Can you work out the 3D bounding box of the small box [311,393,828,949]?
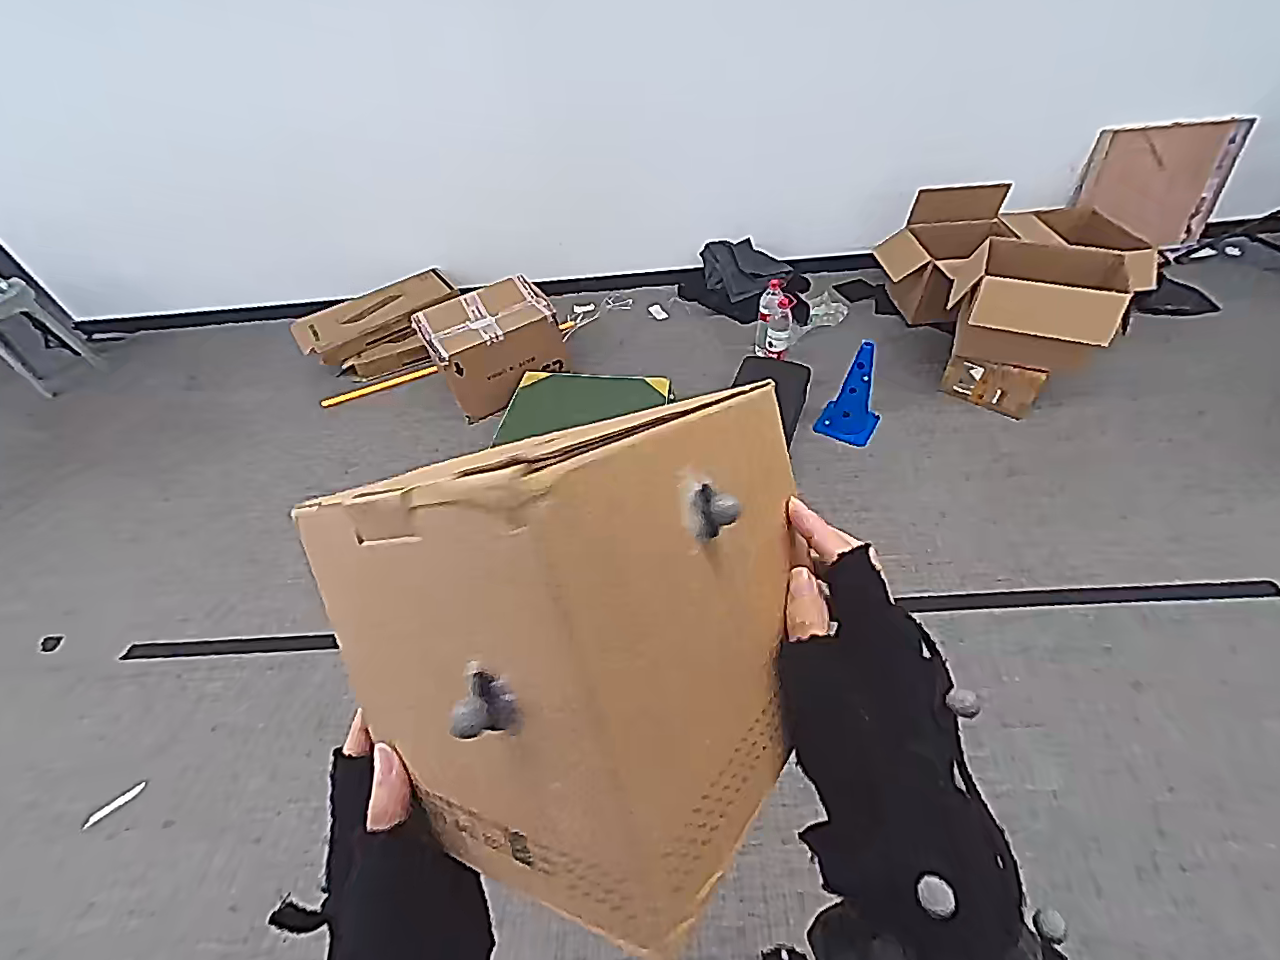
[{"bbox_3d":[-0.023,0.068,0.275,0.168,0.176,0.179,-8,10,42],"label":"small box"}]
